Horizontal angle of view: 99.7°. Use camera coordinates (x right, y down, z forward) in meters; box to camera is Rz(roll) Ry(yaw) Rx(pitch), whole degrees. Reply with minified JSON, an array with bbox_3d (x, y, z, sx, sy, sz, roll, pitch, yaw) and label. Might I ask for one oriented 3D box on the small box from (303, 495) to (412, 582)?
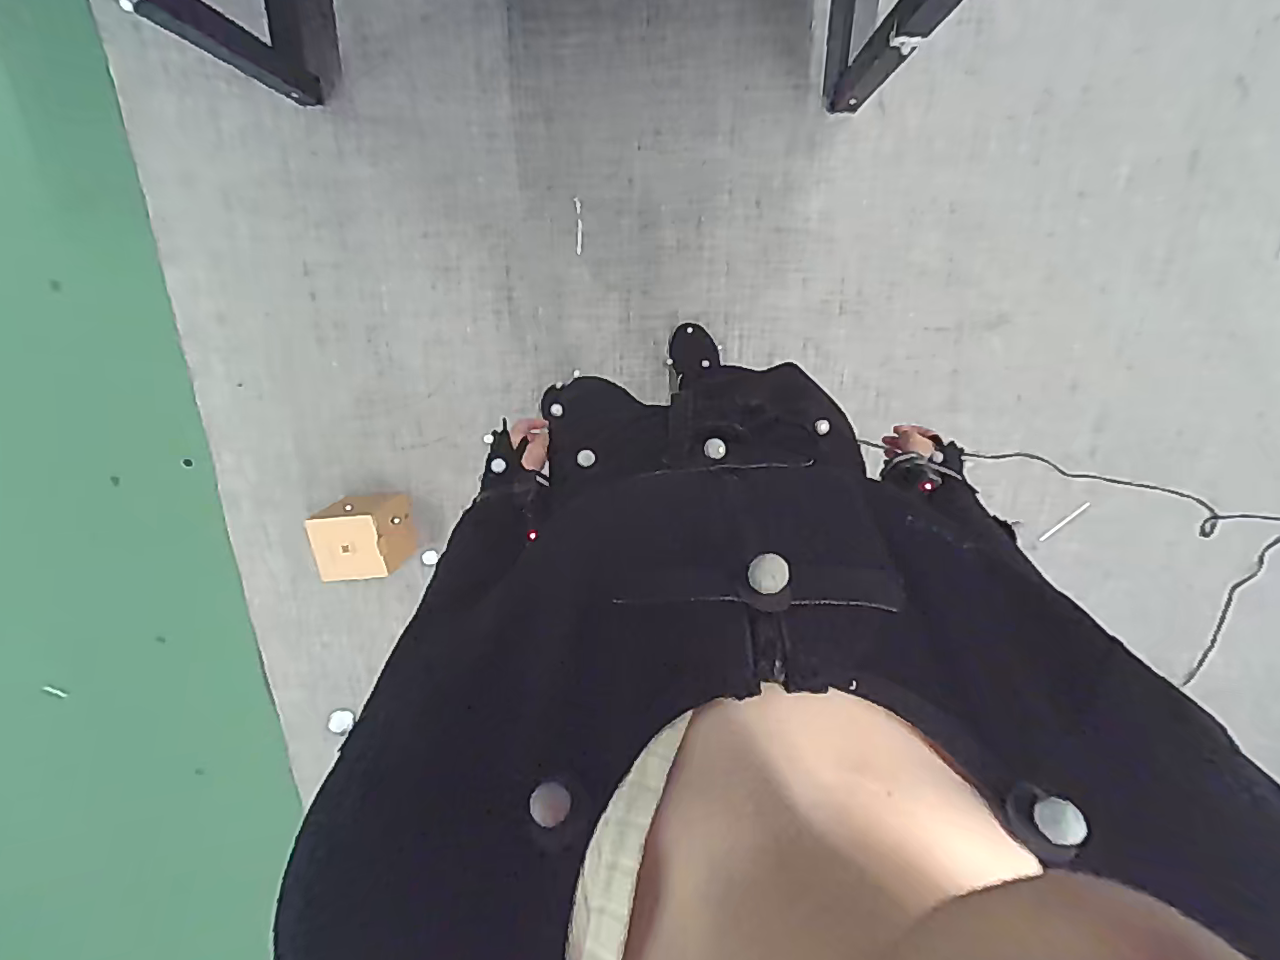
[{"bbox_3d":[-0.703,0.142,1.372,0.179,0.176,0.168,-5,106,5],"label":"small box"}]
